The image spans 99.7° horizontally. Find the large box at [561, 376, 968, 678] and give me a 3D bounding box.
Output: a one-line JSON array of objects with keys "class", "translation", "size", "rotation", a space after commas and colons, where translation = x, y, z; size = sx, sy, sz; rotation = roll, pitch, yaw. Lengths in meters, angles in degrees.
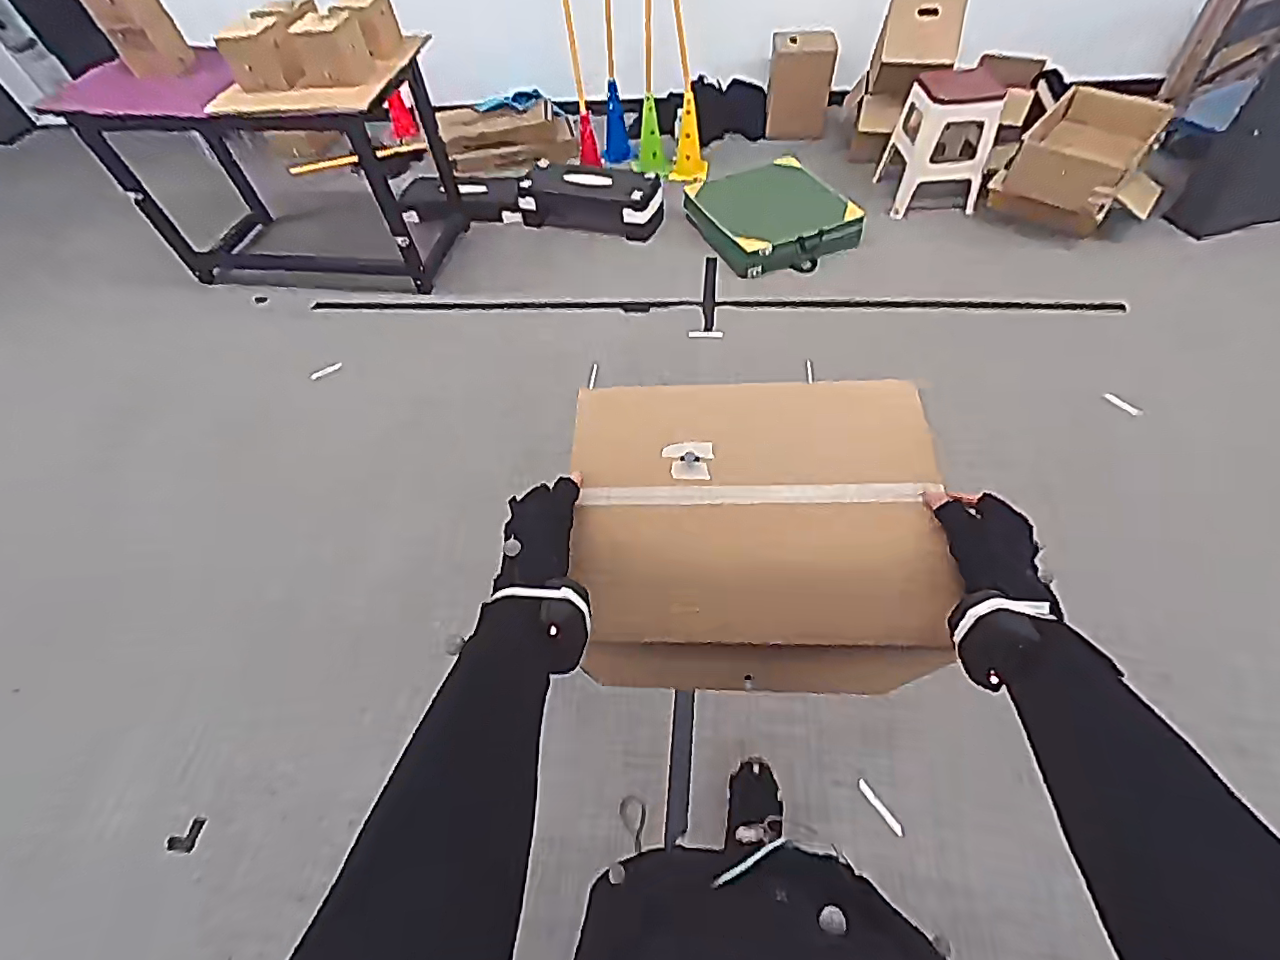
[{"class": "large box", "translation": [0.138, 0.085, 0.732], "size": [0.408, 0.320, 0.320], "rotation": [-1, 60, 7]}]
